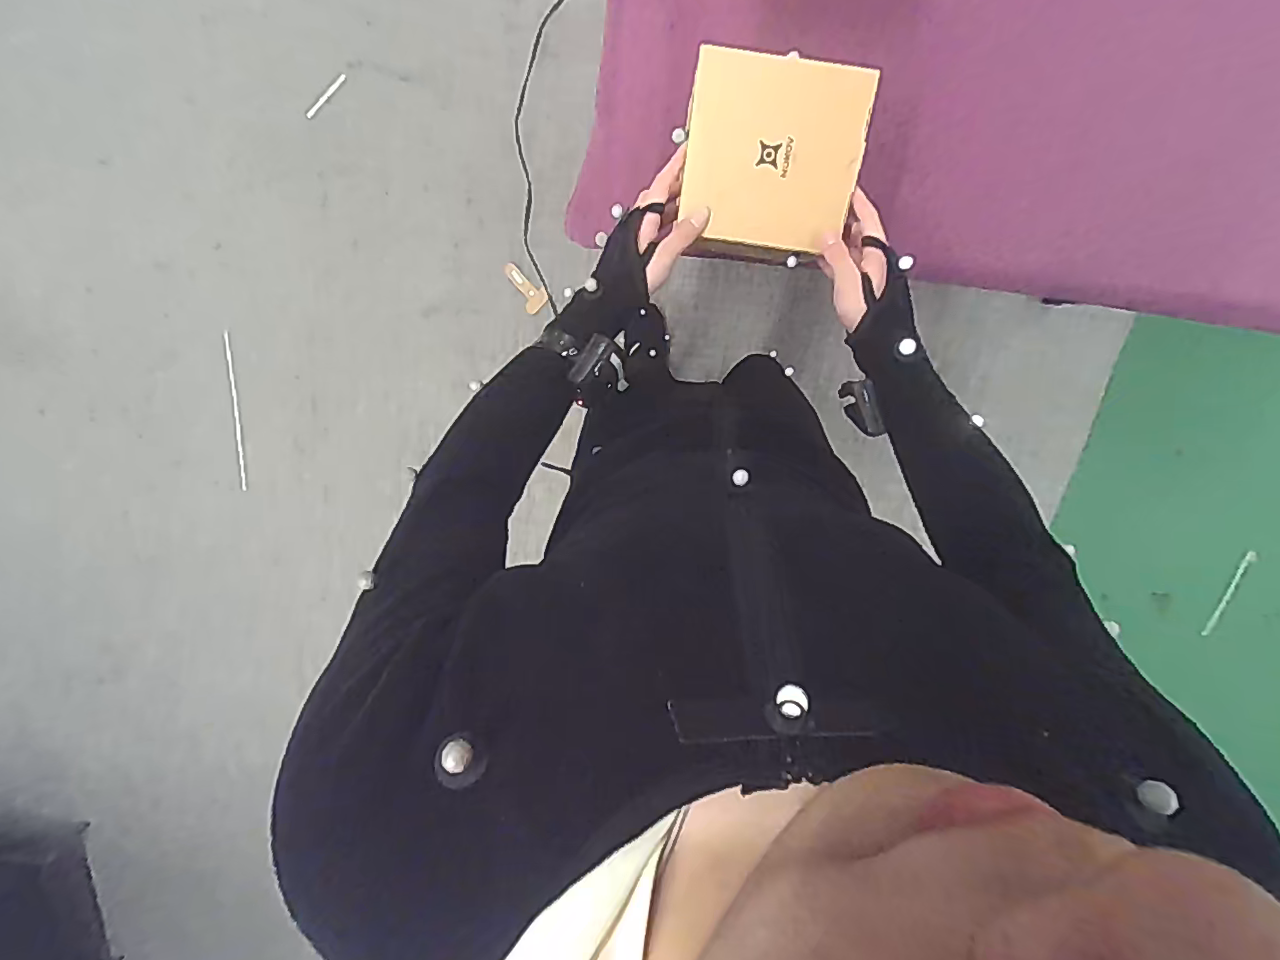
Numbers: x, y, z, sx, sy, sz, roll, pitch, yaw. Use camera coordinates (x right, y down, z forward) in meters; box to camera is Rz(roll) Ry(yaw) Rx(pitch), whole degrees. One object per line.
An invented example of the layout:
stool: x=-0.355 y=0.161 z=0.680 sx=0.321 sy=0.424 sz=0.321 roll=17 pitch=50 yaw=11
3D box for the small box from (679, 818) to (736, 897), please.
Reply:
small box: x=0.240 y=1.382 z=1.990 sx=0.179 sy=0.176 sz=0.168 roll=8 pitch=108 yaw=-2

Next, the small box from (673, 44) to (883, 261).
small box: x=0.135 y=-0.347 z=0.608 sx=0.179 sy=0.176 sz=0.168 roll=7 pitch=109 yaw=-2

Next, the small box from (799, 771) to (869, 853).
small box: x=0.679 y=1.169 z=1.914 sx=0.168 sy=0.176 sz=0.179 roll=9 pitch=108 yaw=-2
